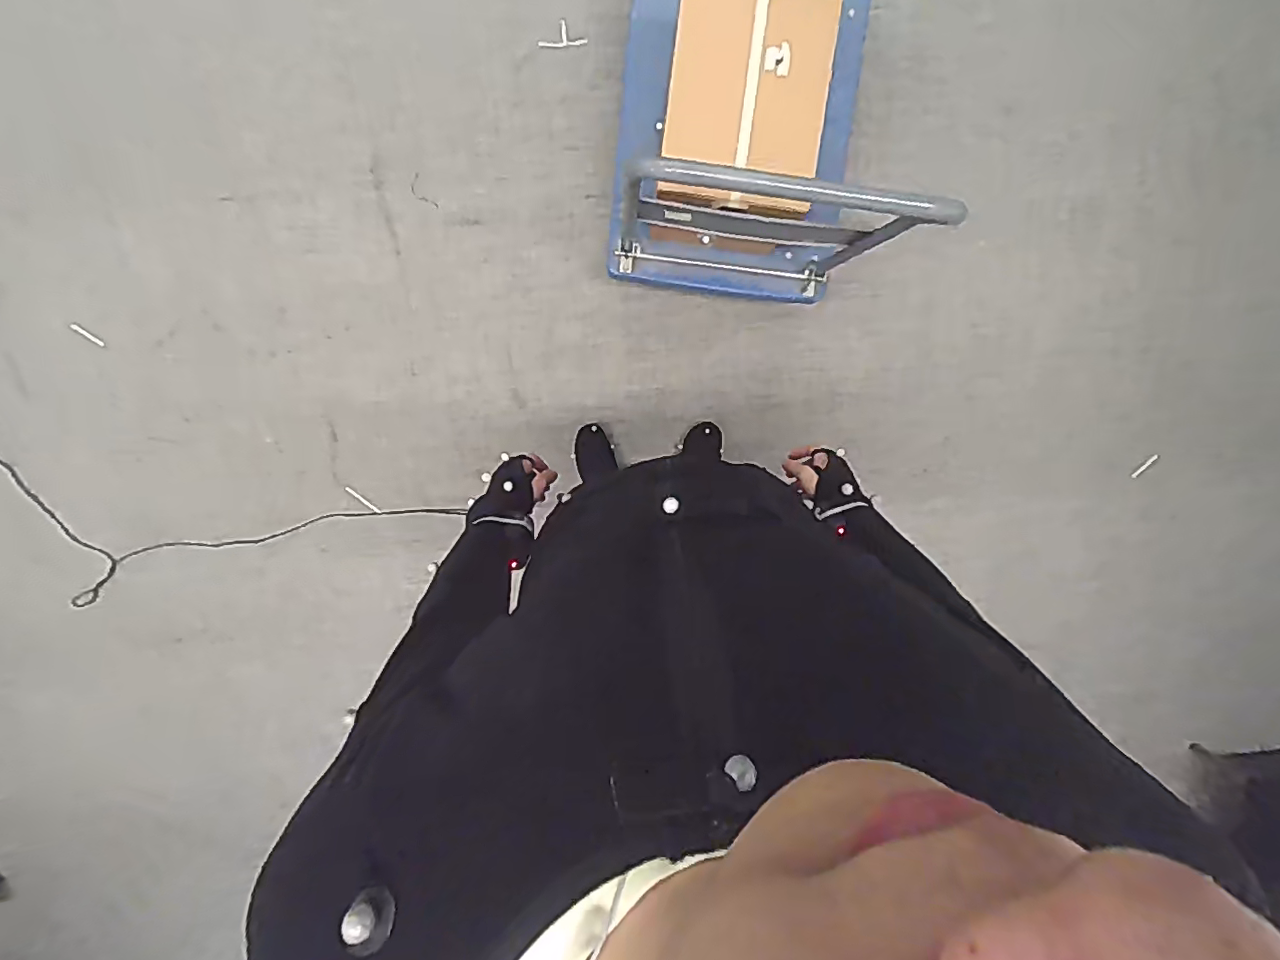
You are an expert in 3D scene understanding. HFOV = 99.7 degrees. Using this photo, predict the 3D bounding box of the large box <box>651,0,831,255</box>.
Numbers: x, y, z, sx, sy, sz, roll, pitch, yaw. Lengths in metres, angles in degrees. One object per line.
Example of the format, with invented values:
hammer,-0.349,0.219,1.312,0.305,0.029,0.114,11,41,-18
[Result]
large box,0.199,-0.769,1.218,0.320,0.320,0.408,6,96,-3
